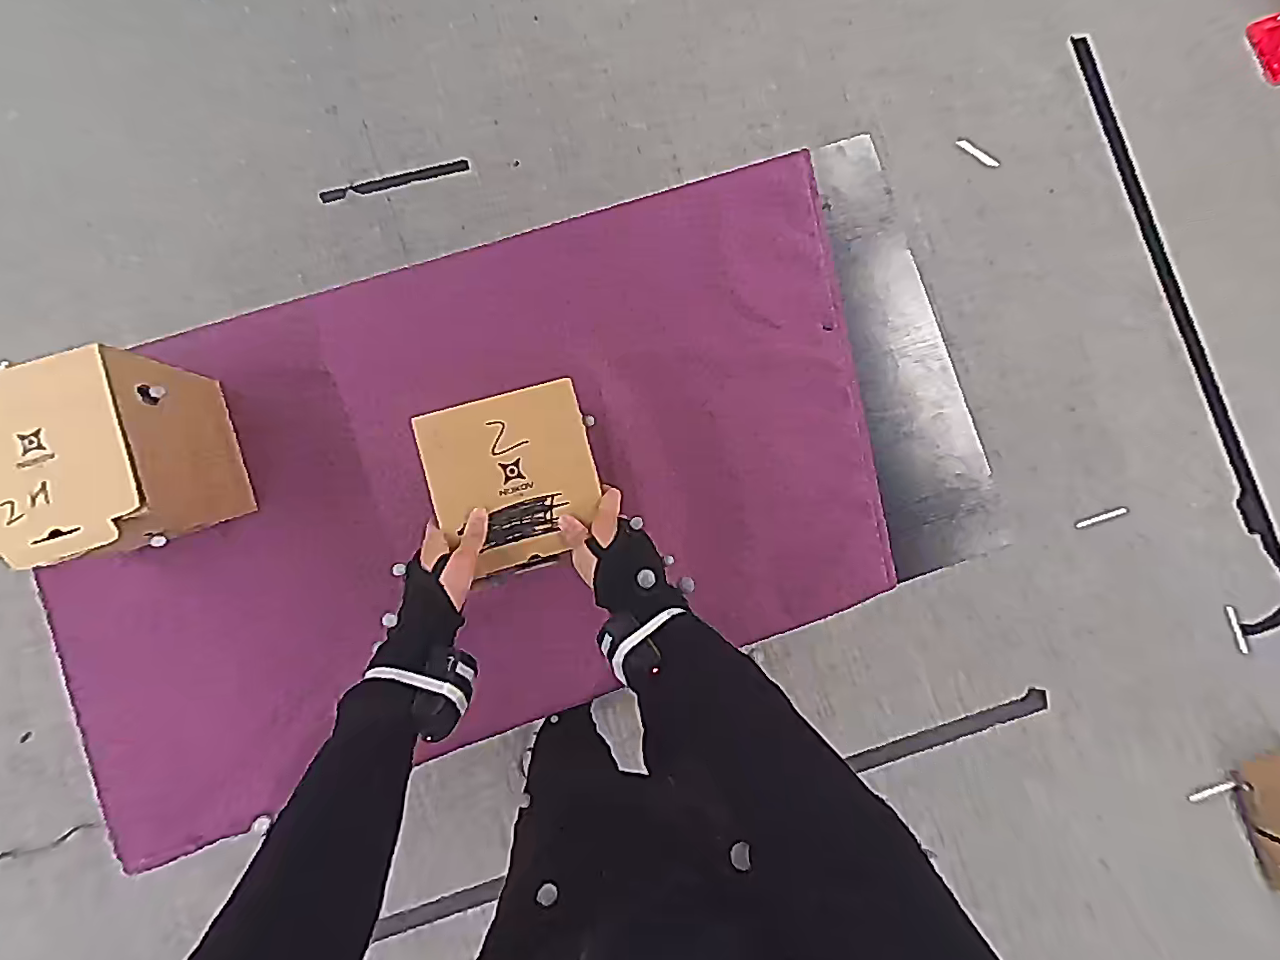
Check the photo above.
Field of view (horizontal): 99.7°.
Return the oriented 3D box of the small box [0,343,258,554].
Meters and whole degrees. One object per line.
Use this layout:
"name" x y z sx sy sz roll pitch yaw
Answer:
"small box" -0.576 -0.026 0.601 0.168 0.176 0.179 -17 88 -4
